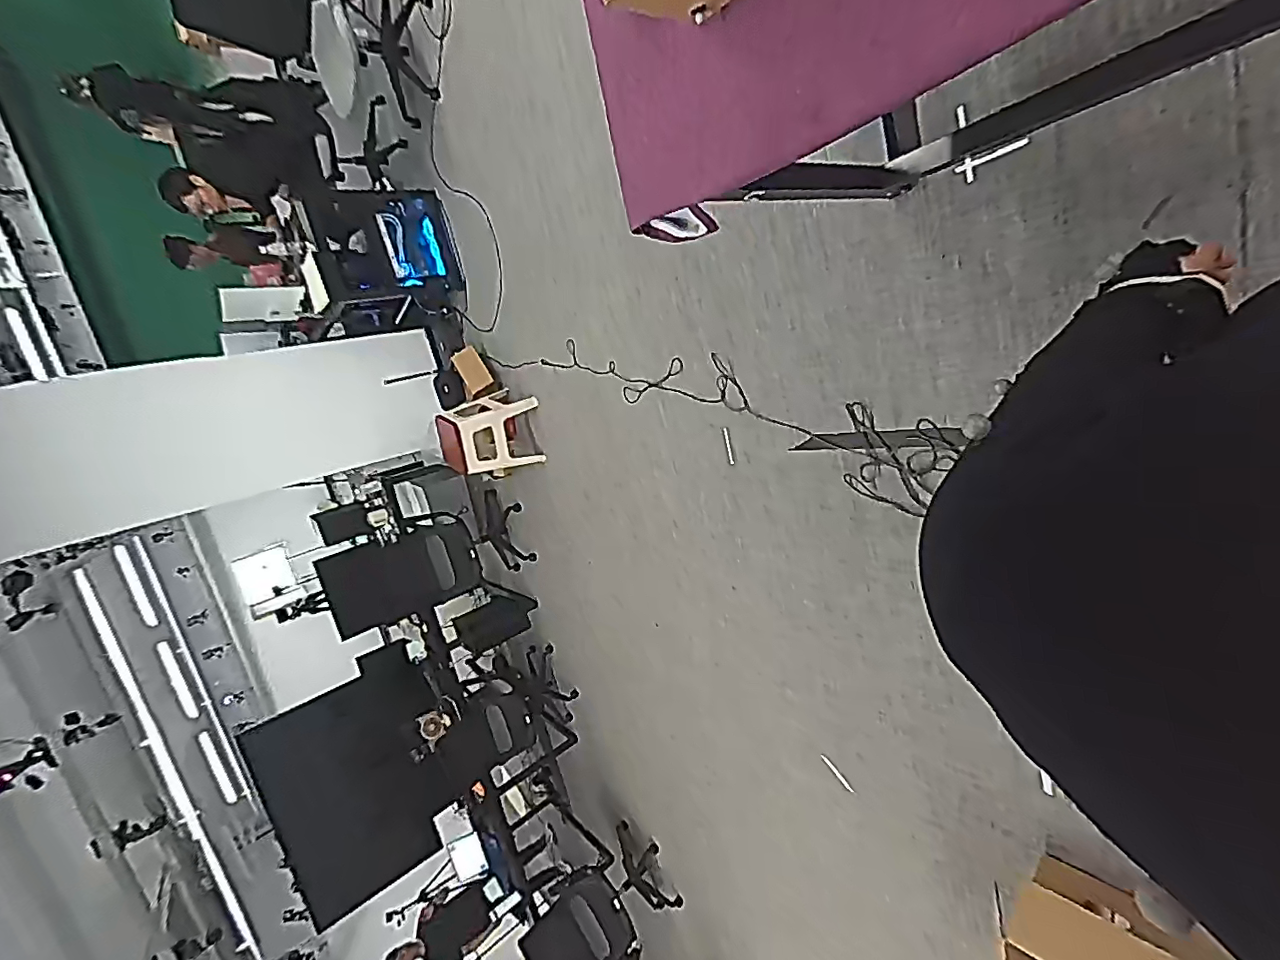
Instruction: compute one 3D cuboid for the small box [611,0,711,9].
[{"bbox_3d":[0.050,-0.677,0.610,0.168,0.176,0.179,10,116,51],"label":"small box"}]
